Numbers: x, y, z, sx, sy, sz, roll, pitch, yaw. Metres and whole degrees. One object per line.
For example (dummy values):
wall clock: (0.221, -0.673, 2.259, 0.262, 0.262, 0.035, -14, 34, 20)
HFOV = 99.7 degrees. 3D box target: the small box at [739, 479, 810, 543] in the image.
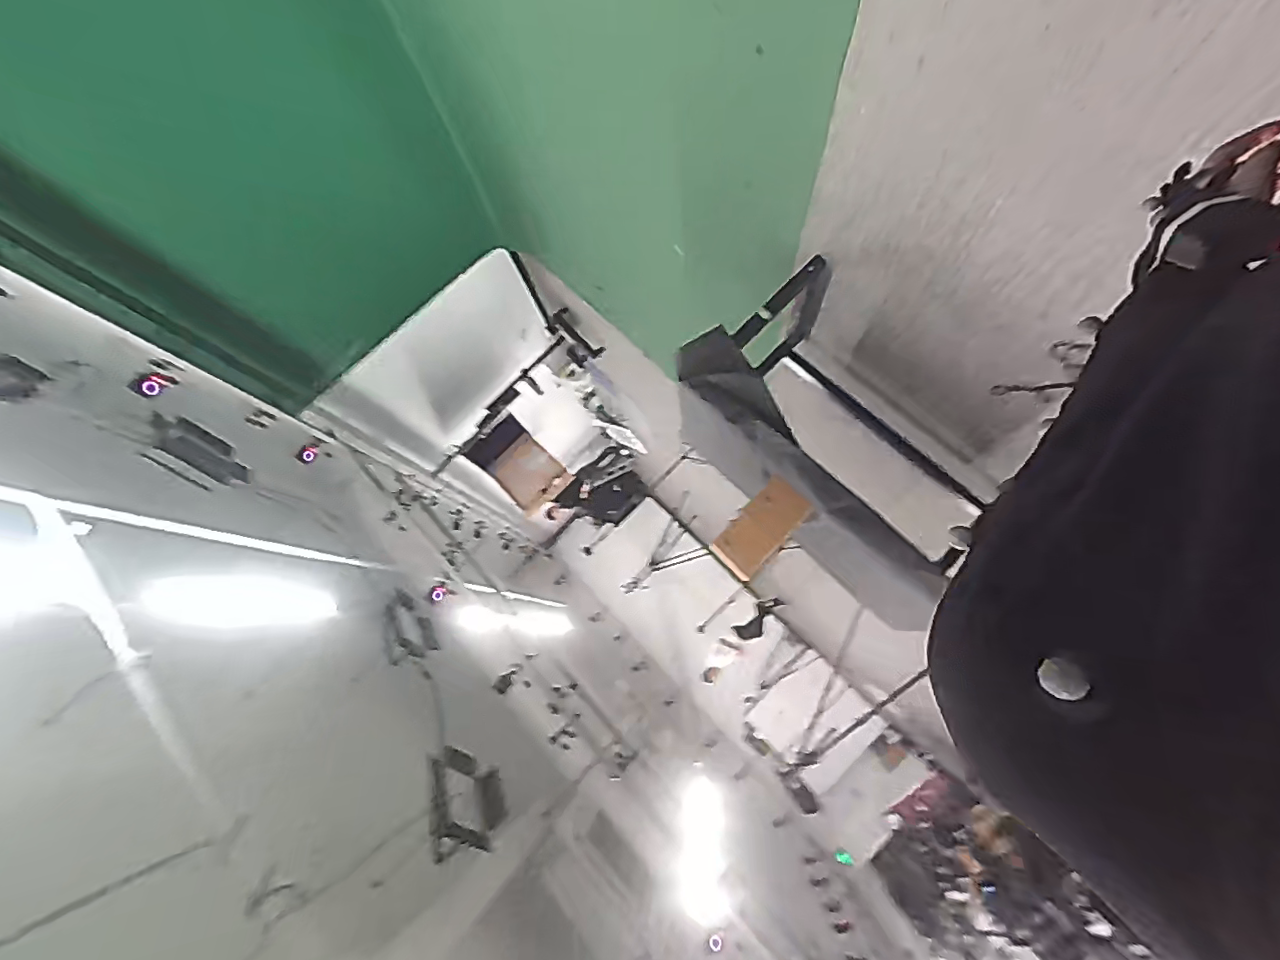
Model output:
small box: (0.478, 0.114, 1.937, 0.179, 0.176, 0.168, 44, 174, 16)

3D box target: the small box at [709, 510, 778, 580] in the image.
small box: (0.367, 0.232, 1.922, 0.179, 0.176, 0.168, 46, 175, 14)
